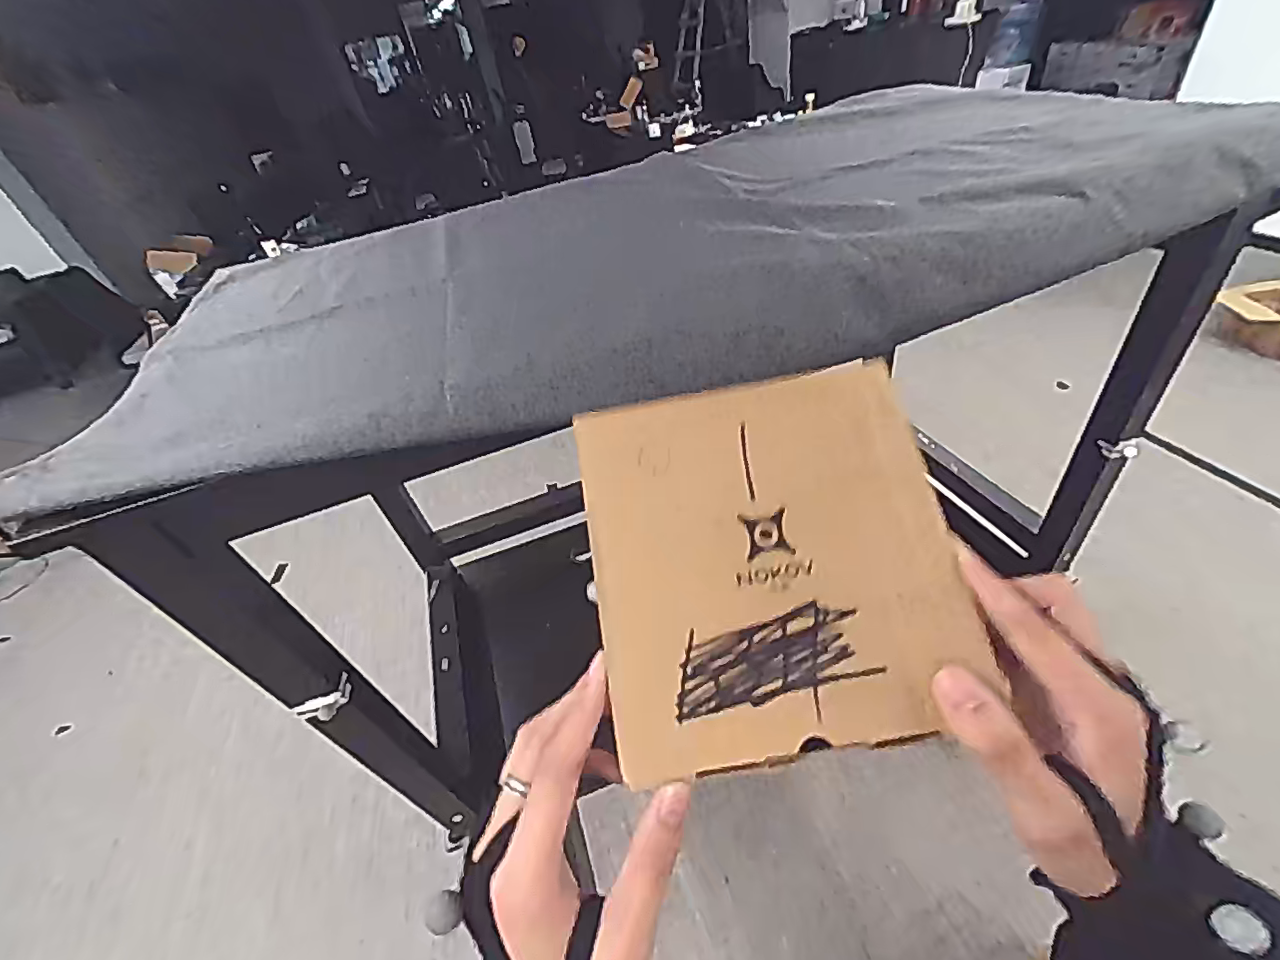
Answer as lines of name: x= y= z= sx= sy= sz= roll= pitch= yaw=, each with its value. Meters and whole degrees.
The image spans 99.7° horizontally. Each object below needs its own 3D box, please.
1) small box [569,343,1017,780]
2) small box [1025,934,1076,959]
small box: x=0.064 y=0.052 z=0.318 sx=0.168 sy=0.176 sz=0.179 roll=-11 pitch=70 yaw=2
small box: x=0.824 y=1.023 z=1.041 sx=0.179 sy=0.176 sz=0.168 roll=-22 pitch=42 yaw=-9
